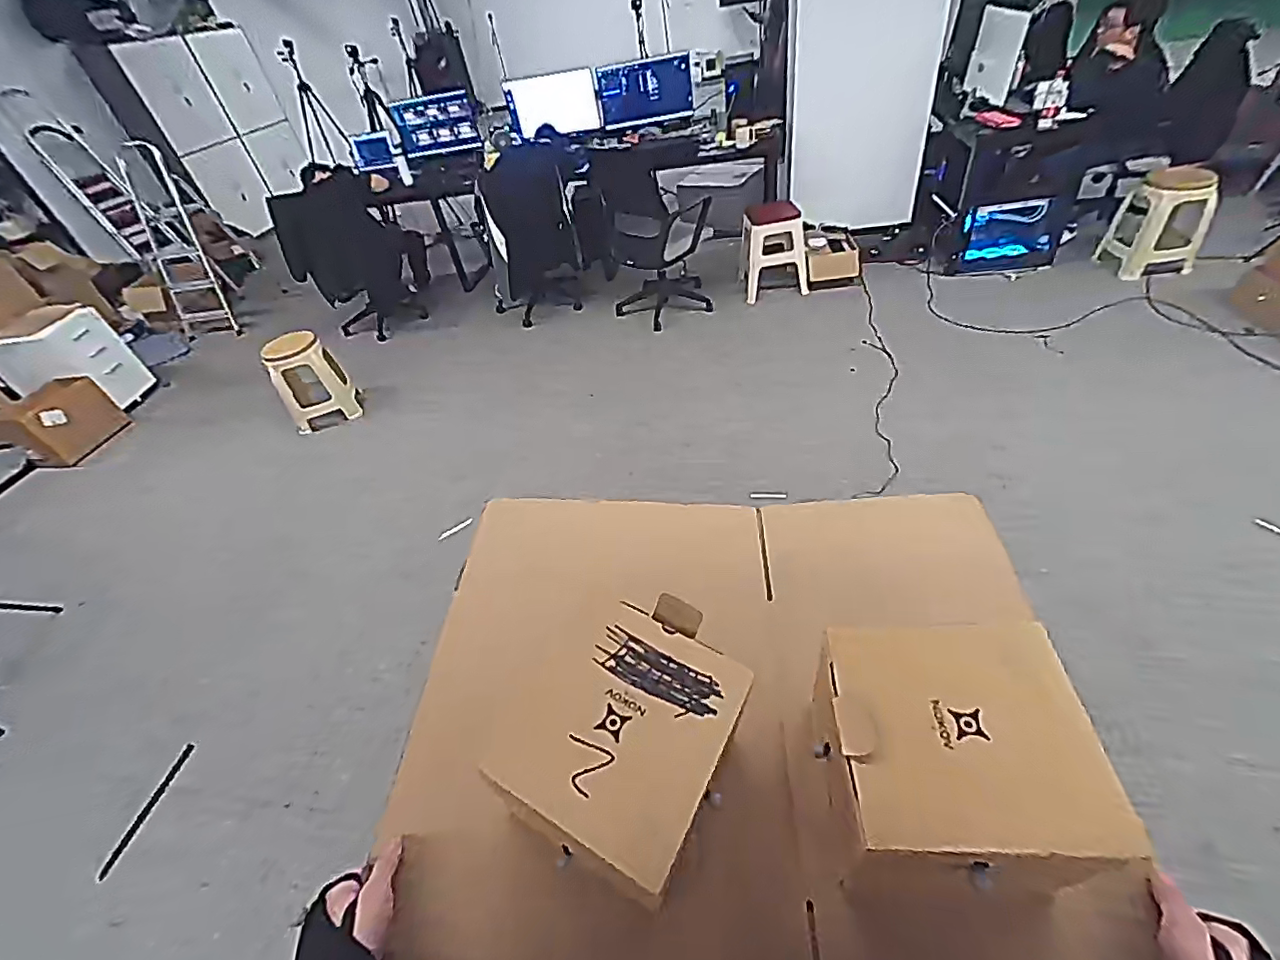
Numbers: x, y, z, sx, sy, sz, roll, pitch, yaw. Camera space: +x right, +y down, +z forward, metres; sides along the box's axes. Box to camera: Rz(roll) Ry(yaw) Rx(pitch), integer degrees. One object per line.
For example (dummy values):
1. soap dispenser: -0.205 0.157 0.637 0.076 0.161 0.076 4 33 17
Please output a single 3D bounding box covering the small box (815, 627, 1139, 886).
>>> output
1. small box: 0.262 0.245 0.478 0.179 0.176 0.168 -5 47 9
